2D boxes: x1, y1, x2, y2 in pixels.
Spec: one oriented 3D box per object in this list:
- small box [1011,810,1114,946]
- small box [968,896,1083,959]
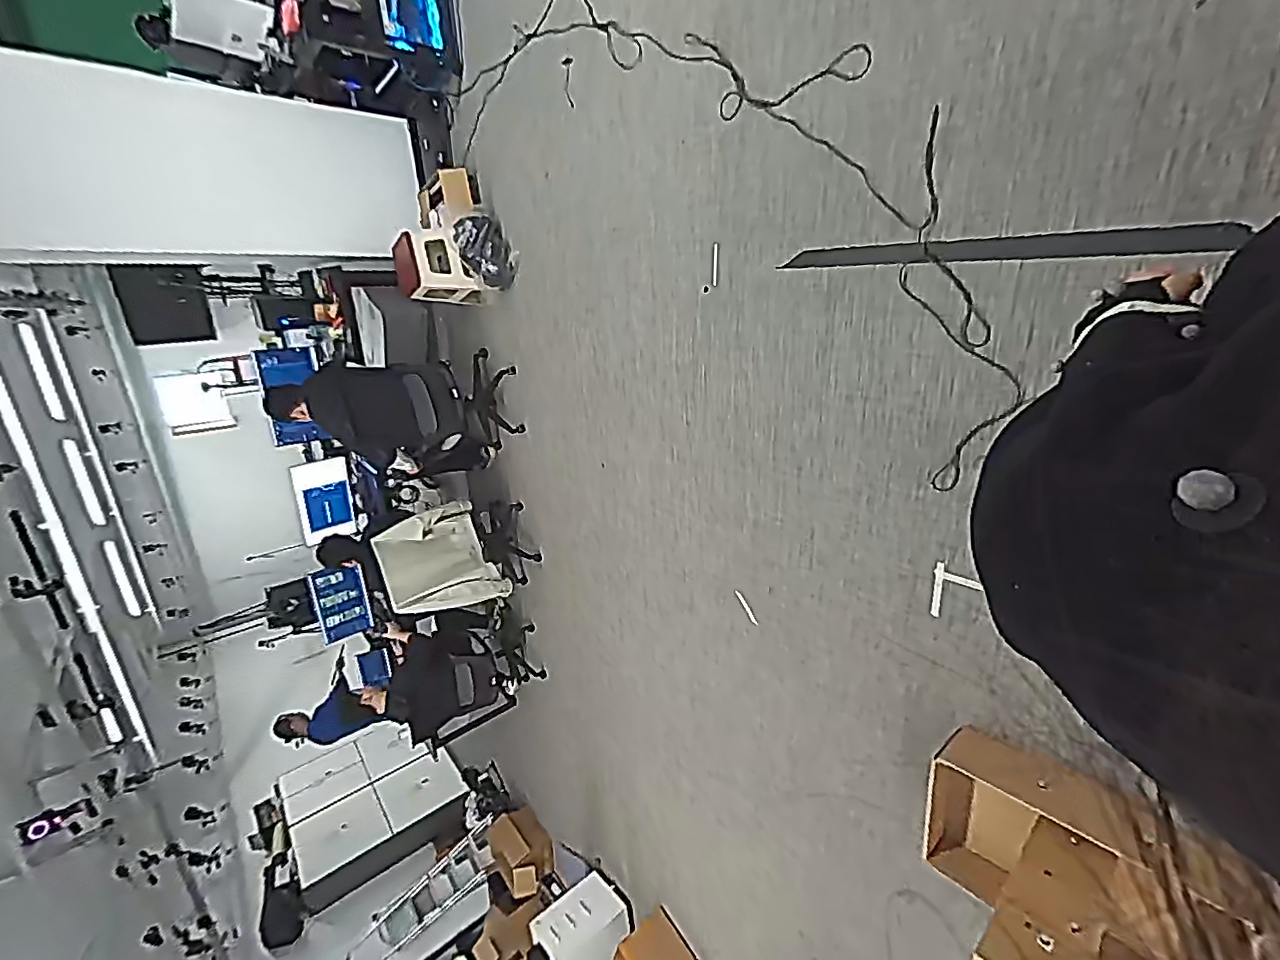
[{"bbox_3d":[1.061,0.988,1.358,0.168,0.176,0.179,12,113,49],"label":"small box"},{"bbox_3d":[0.818,1.060,1.152,0.168,0.176,0.179,11,112,49],"label":"small box"}]
